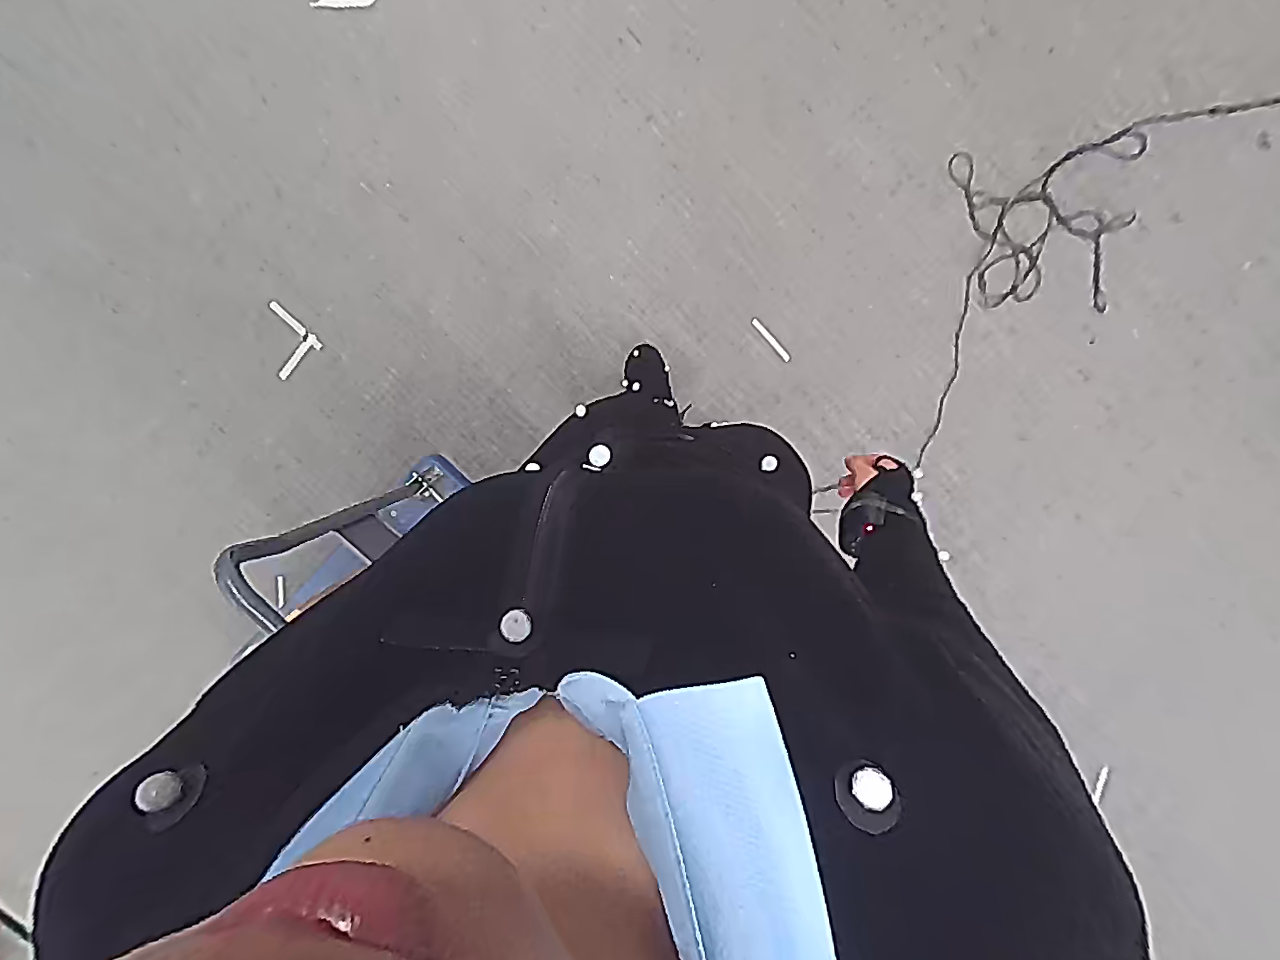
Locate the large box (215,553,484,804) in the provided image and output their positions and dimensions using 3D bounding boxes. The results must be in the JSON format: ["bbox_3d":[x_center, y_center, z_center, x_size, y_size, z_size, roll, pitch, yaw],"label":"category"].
[{"bbox_3d":[-0.662,0.451,1.300,0.320,0.320,0.408,-41,97,10],"label":"large box"}]
